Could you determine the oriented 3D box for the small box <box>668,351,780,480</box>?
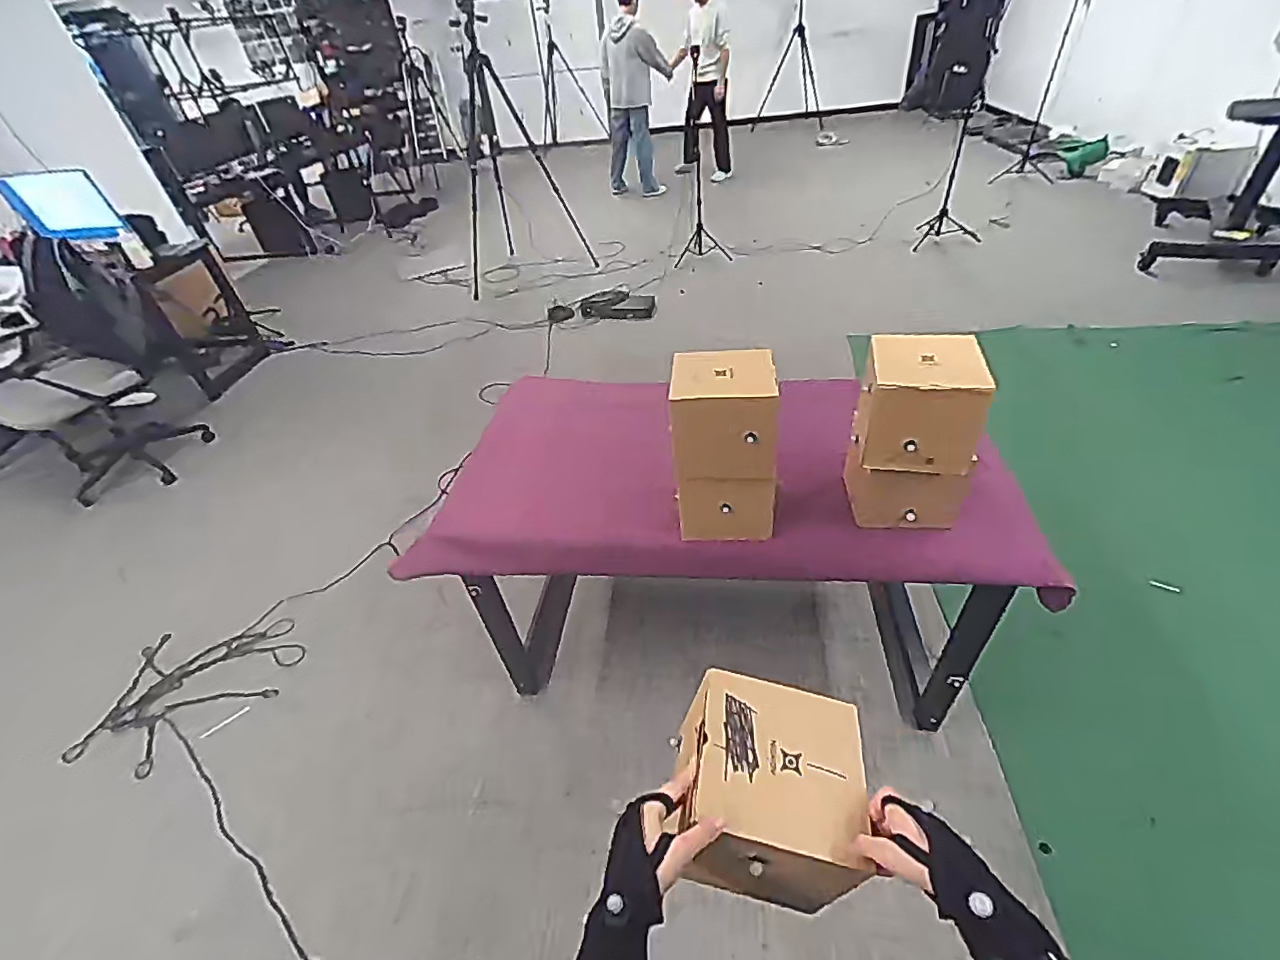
[{"bbox_3d":[0.150,-0.112,0.958,0.179,0.176,0.168,-1,39,10],"label":"small box"}]

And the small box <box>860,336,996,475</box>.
[{"bbox_3d":[0.475,-0.131,0.923,0.168,0.176,0.179,4,42,16],"label":"small box"}]

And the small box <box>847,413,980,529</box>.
[{"bbox_3d":[0.511,-0.018,1.039,0.179,0.176,0.168,-1,39,9],"label":"small box"}]

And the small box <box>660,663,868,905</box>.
[{"bbox_3d":[0.127,0.338,0.602,0.179,0.176,0.168,14,41,4],"label":"small box"}]
